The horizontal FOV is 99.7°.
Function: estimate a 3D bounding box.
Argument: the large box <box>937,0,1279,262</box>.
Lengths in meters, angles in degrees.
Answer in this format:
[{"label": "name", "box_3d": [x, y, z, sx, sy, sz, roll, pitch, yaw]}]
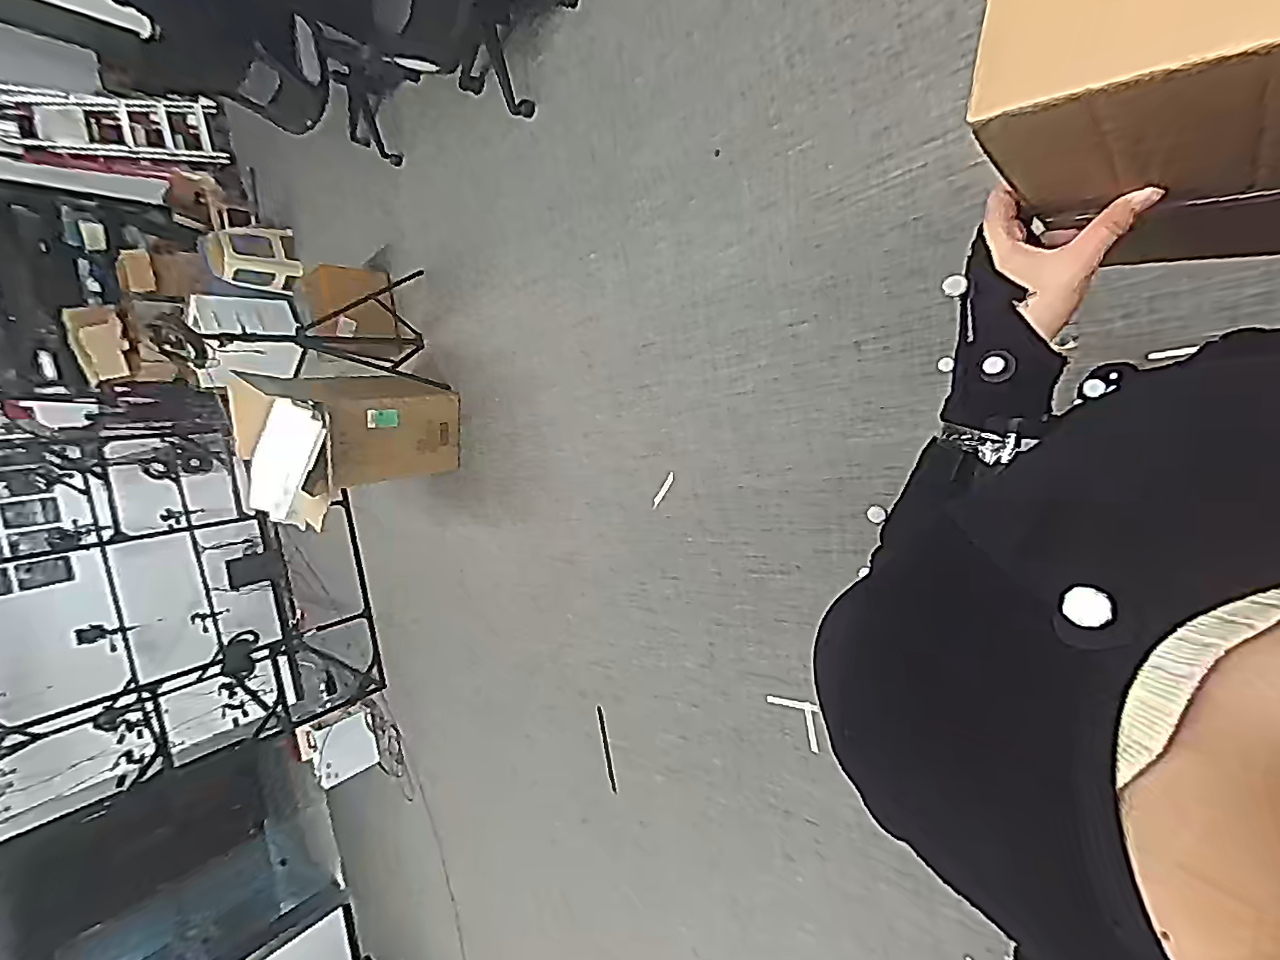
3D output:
[{"label": "large box", "box_3d": [0.405, -0.301, 0.210, 0.408, 0.320, 0.320, 15, 105, 47]}]
